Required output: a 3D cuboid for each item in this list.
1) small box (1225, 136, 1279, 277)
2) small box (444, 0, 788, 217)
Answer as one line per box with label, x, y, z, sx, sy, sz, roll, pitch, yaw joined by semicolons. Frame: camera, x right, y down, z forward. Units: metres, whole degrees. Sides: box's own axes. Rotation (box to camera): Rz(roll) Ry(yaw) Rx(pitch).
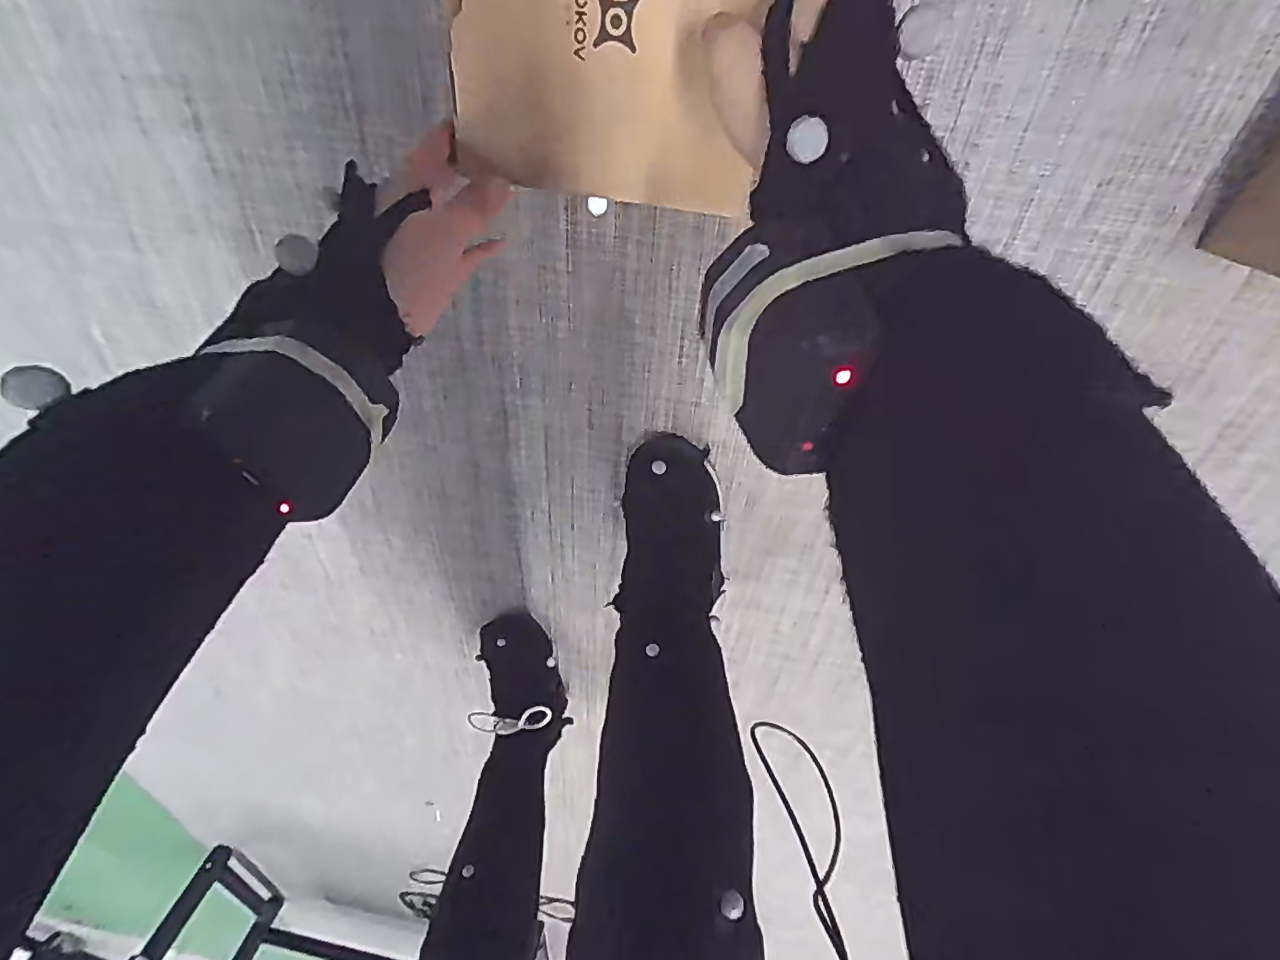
small box;0.509;-0.180;0.302;0.168;0.176;0.179;13;126;1
small box;-0.003;-0.281;0.336;0.179;0.176;0.168;11;127;4
